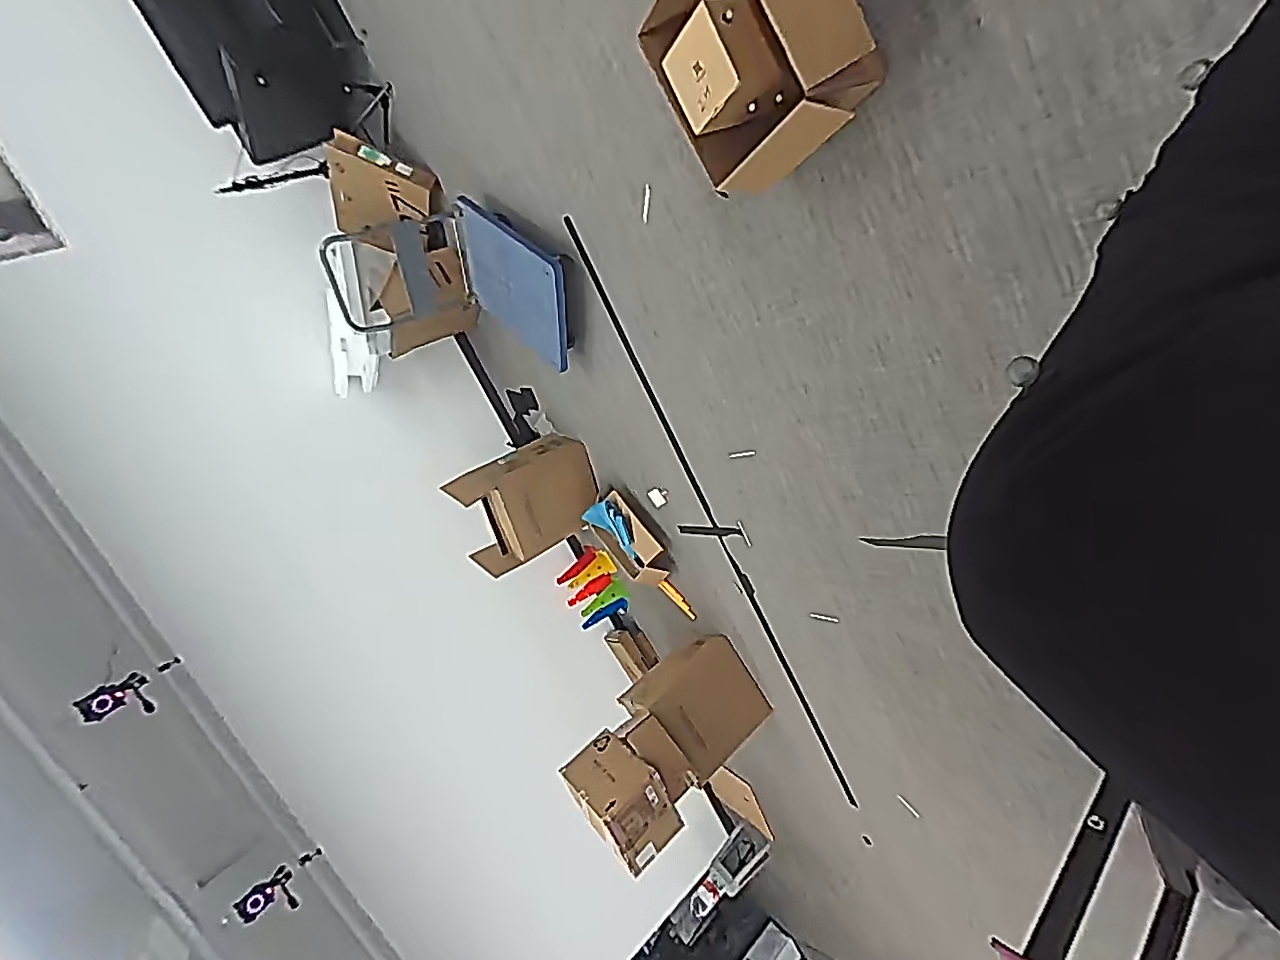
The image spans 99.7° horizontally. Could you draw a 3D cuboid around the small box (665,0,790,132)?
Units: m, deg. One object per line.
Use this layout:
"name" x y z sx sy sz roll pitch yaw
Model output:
"small box" 0.193 -0.914 1.191 0.179 0.176 0.168 62 153 -8
